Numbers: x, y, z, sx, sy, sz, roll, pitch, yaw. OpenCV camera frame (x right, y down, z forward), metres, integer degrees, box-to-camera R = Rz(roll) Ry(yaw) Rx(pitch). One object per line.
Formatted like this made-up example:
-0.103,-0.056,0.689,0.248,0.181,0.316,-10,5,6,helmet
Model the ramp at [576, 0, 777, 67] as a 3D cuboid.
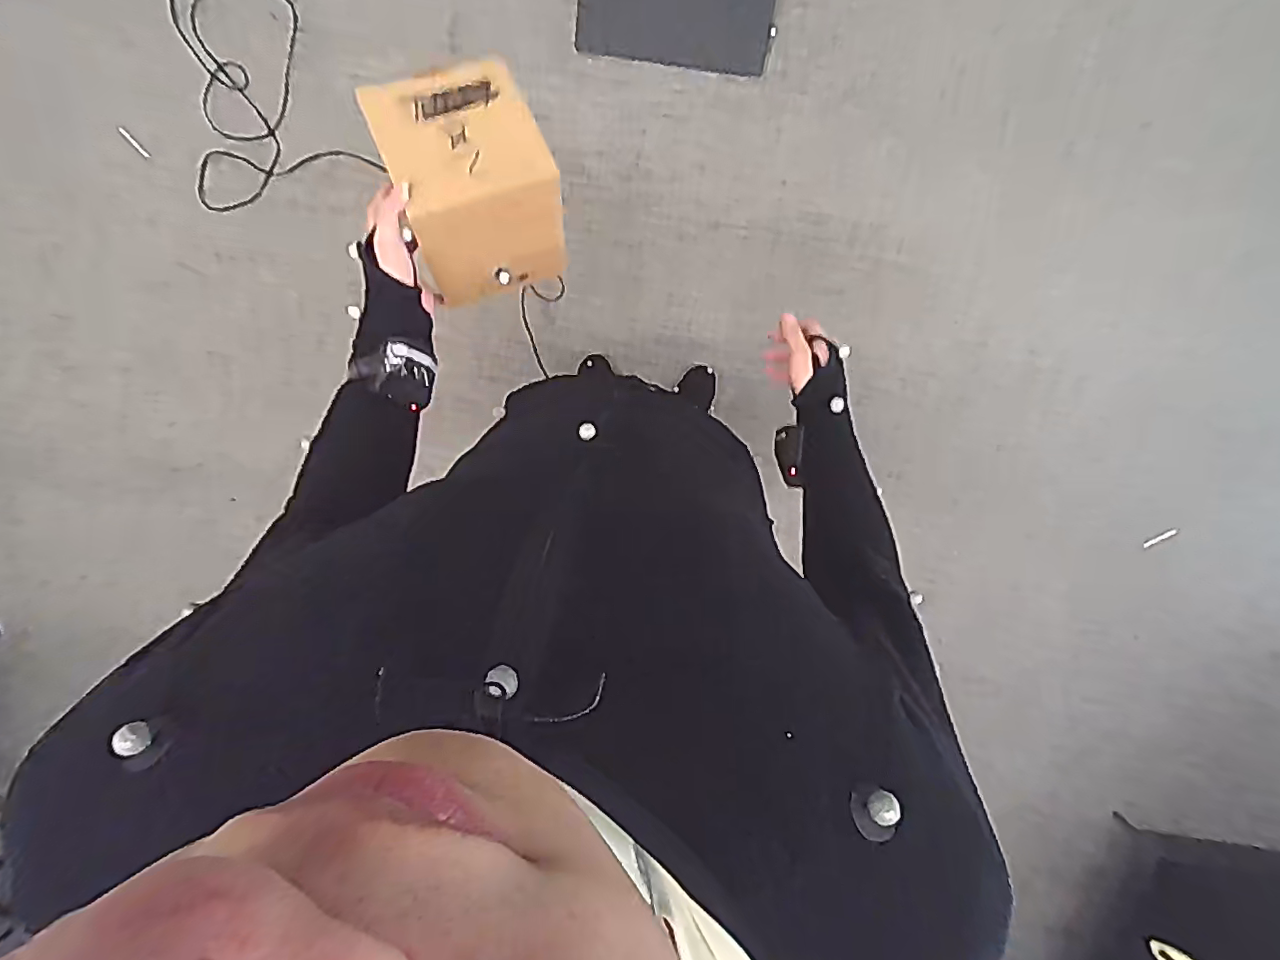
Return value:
0.139,-1.532,1.173,0.509,0.206,0.991,6,104,0,ramp
